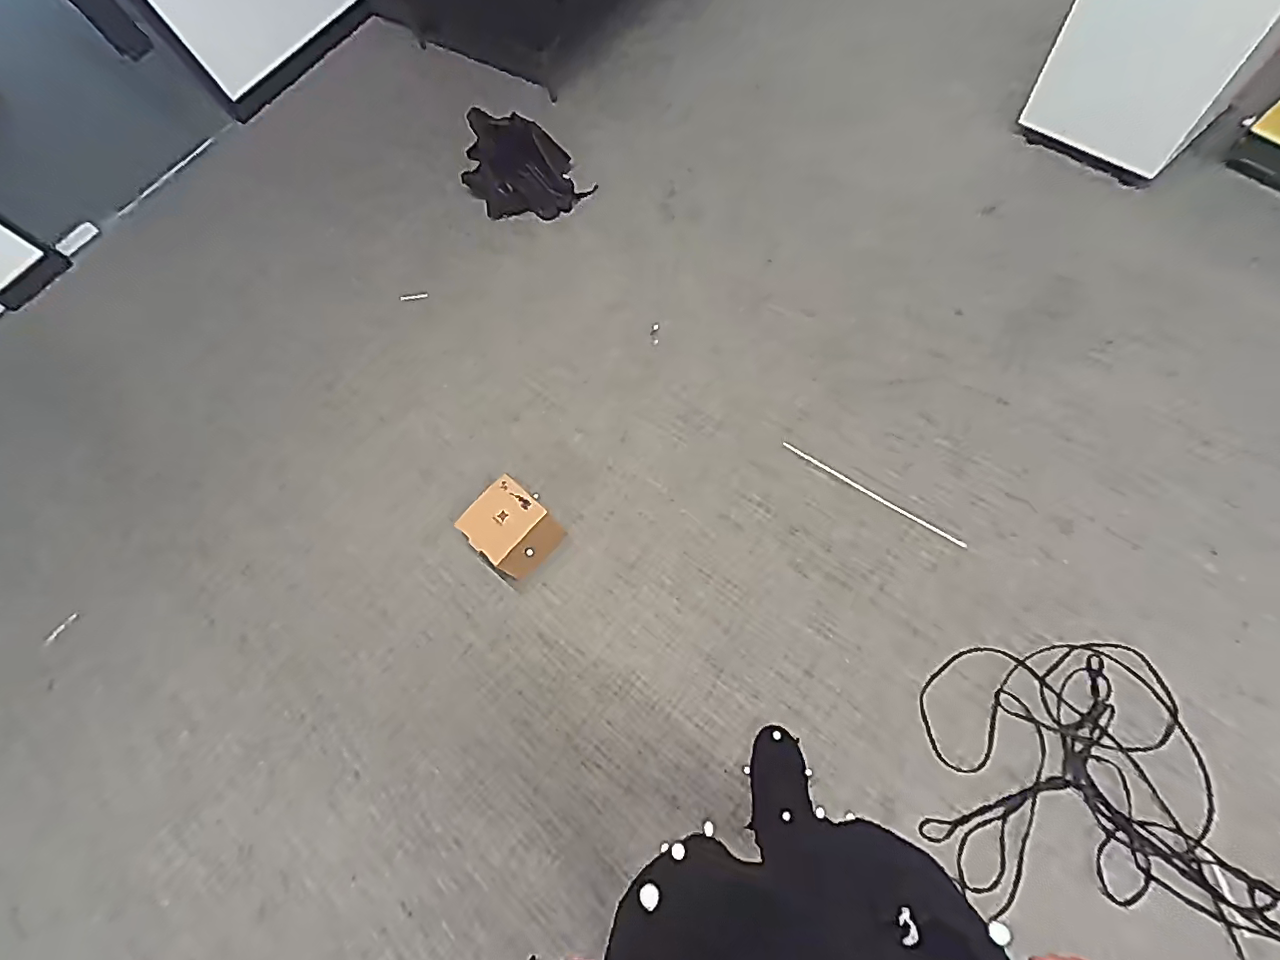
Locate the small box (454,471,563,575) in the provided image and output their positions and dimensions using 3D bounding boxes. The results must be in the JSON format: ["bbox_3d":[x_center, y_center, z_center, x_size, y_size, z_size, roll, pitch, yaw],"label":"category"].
[{"bbox_3d":[-0.321,0.116,1.357,0.168,0.176,0.179,38,80,21],"label":"small box"}]
